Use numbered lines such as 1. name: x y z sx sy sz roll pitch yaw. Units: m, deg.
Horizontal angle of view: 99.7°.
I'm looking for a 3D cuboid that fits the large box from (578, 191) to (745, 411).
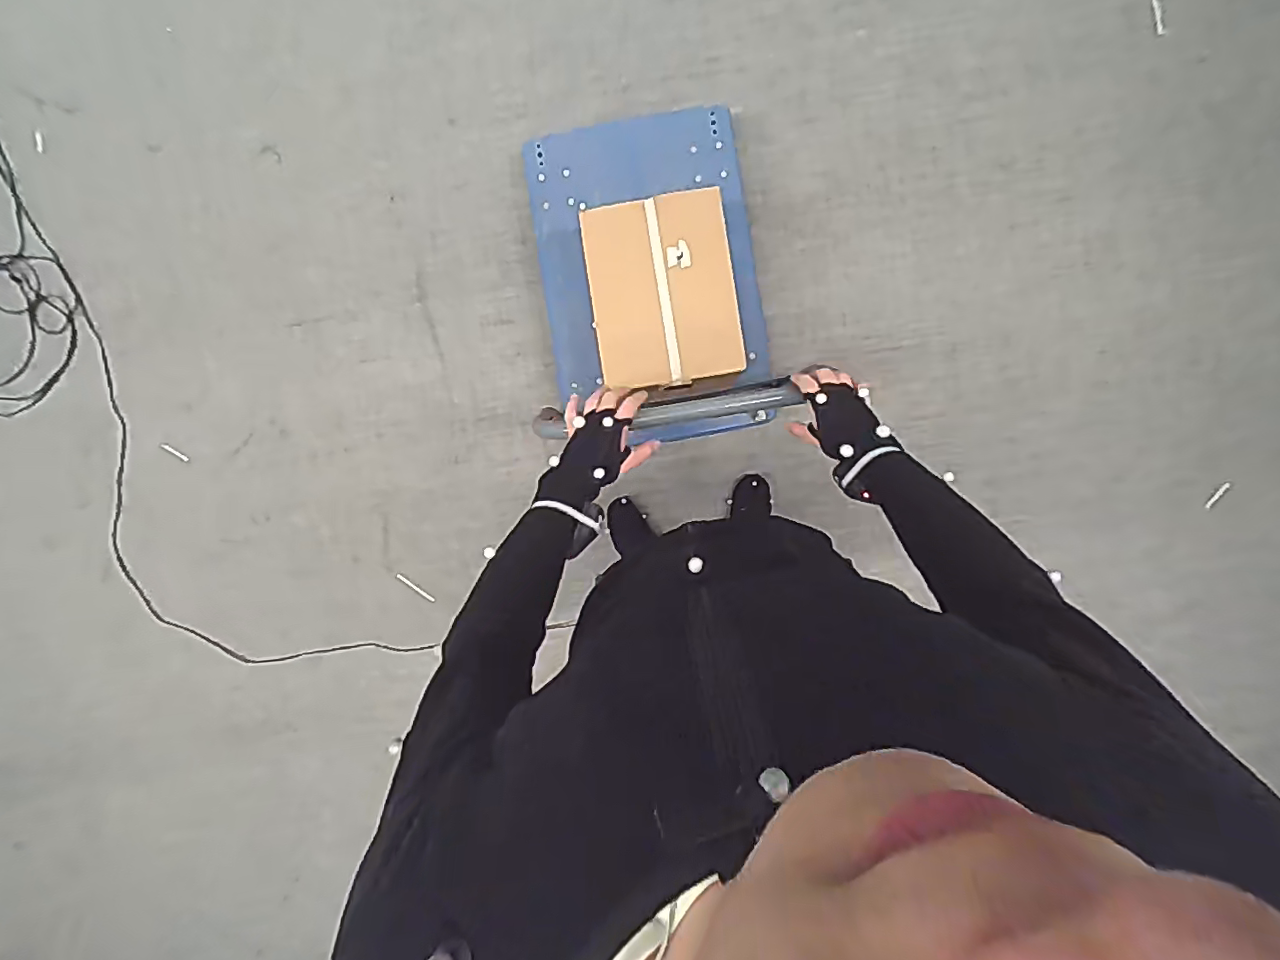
1. large box: 0.053 -0.407 1.323 0.320 0.320 0.408 -9 89 2
